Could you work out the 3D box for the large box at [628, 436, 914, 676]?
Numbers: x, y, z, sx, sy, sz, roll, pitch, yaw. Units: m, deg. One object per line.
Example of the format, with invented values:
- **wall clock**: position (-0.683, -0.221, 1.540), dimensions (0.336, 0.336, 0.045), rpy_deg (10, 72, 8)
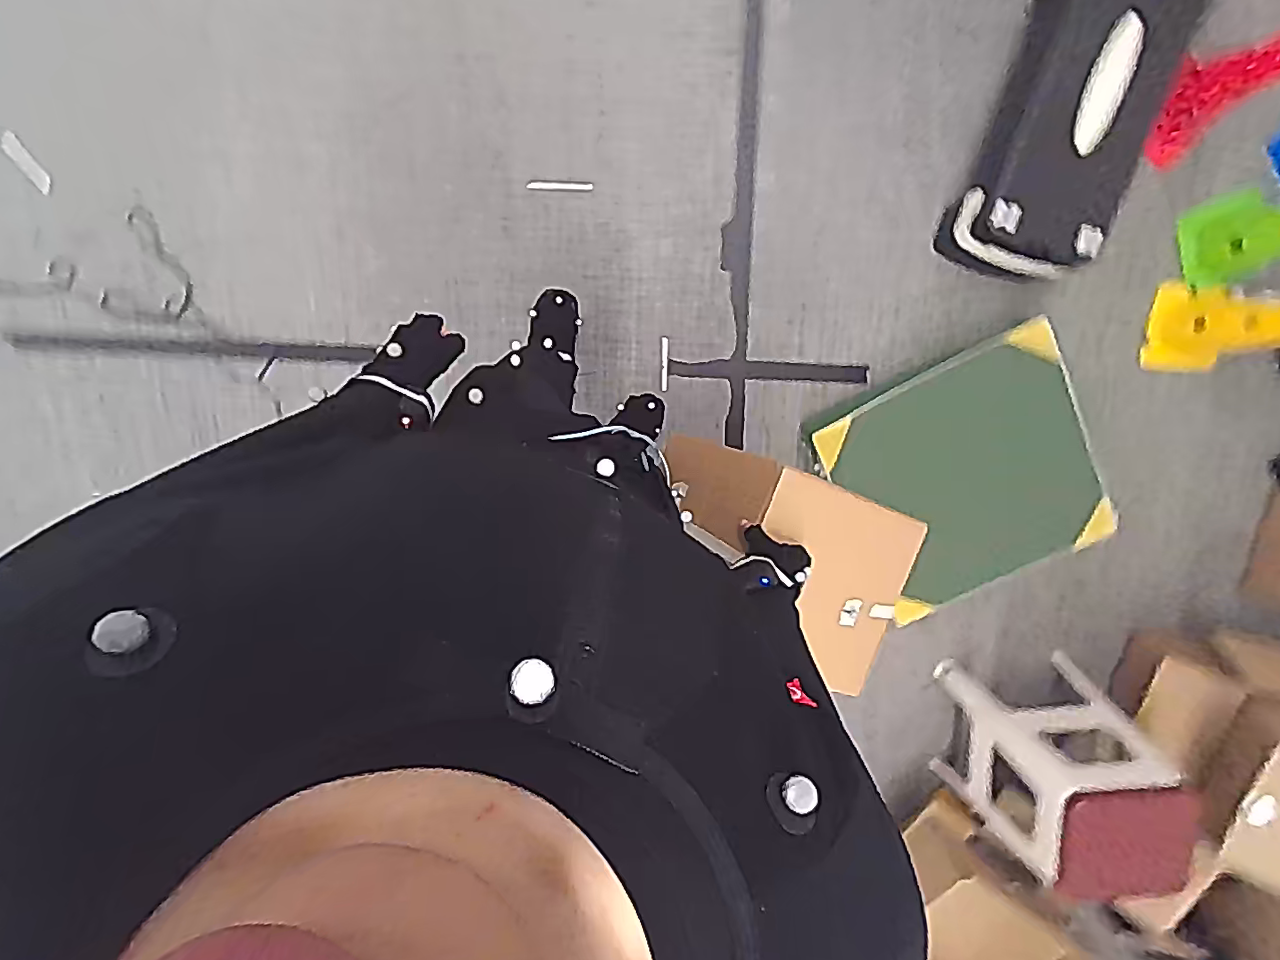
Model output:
- **large box**: position (0.220, 0.122, 1.035), dimensions (0.320, 0.408, 0.320), rpy_deg (19, 94, -21)
